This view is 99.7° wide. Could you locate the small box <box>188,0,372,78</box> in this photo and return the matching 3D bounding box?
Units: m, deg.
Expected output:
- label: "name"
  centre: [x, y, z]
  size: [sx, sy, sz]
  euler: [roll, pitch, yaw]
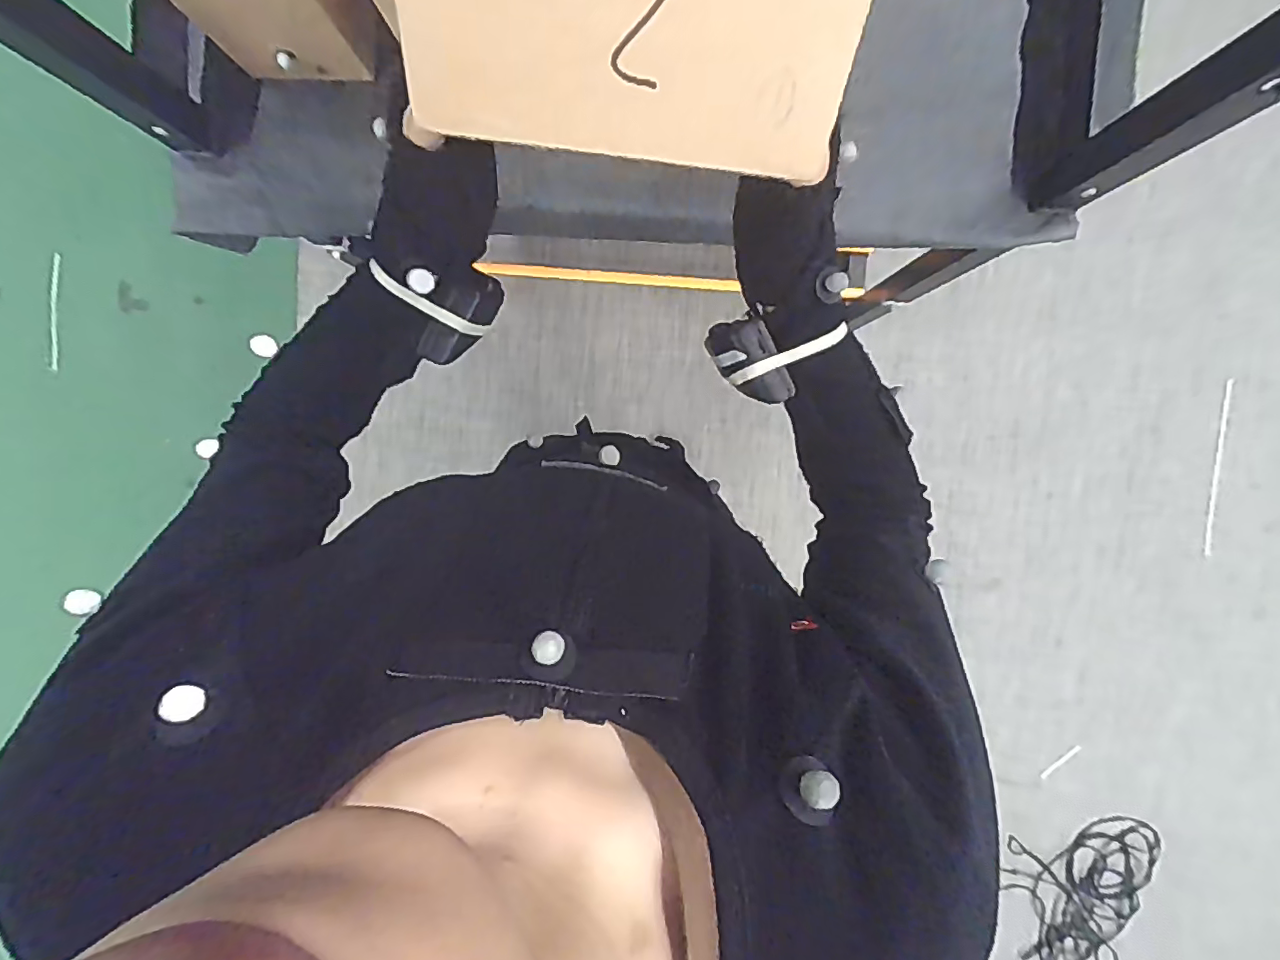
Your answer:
- label: "small box"
  centre: [-0.428, -0.612, 0.621]
  size: [0.168, 0.176, 0.179]
  euler: [2, 94, 0]
